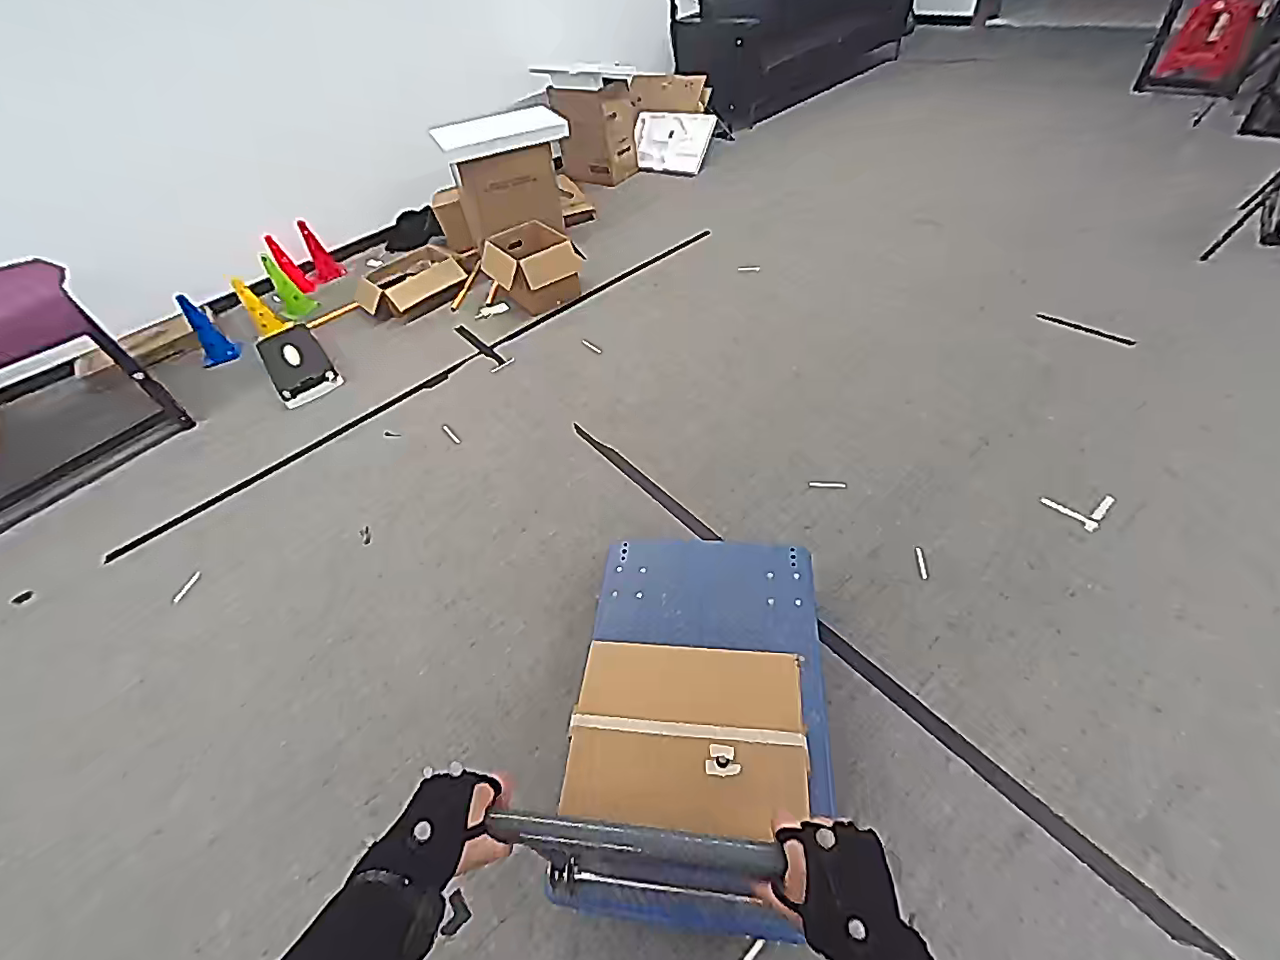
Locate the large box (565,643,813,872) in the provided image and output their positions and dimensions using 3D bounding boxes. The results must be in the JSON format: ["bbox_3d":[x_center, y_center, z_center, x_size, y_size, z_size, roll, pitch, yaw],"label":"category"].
[{"bbox_3d":[0.102,0.543,1.063,0.408,0.320,0.320,1,48,9],"label":"large box"}]
